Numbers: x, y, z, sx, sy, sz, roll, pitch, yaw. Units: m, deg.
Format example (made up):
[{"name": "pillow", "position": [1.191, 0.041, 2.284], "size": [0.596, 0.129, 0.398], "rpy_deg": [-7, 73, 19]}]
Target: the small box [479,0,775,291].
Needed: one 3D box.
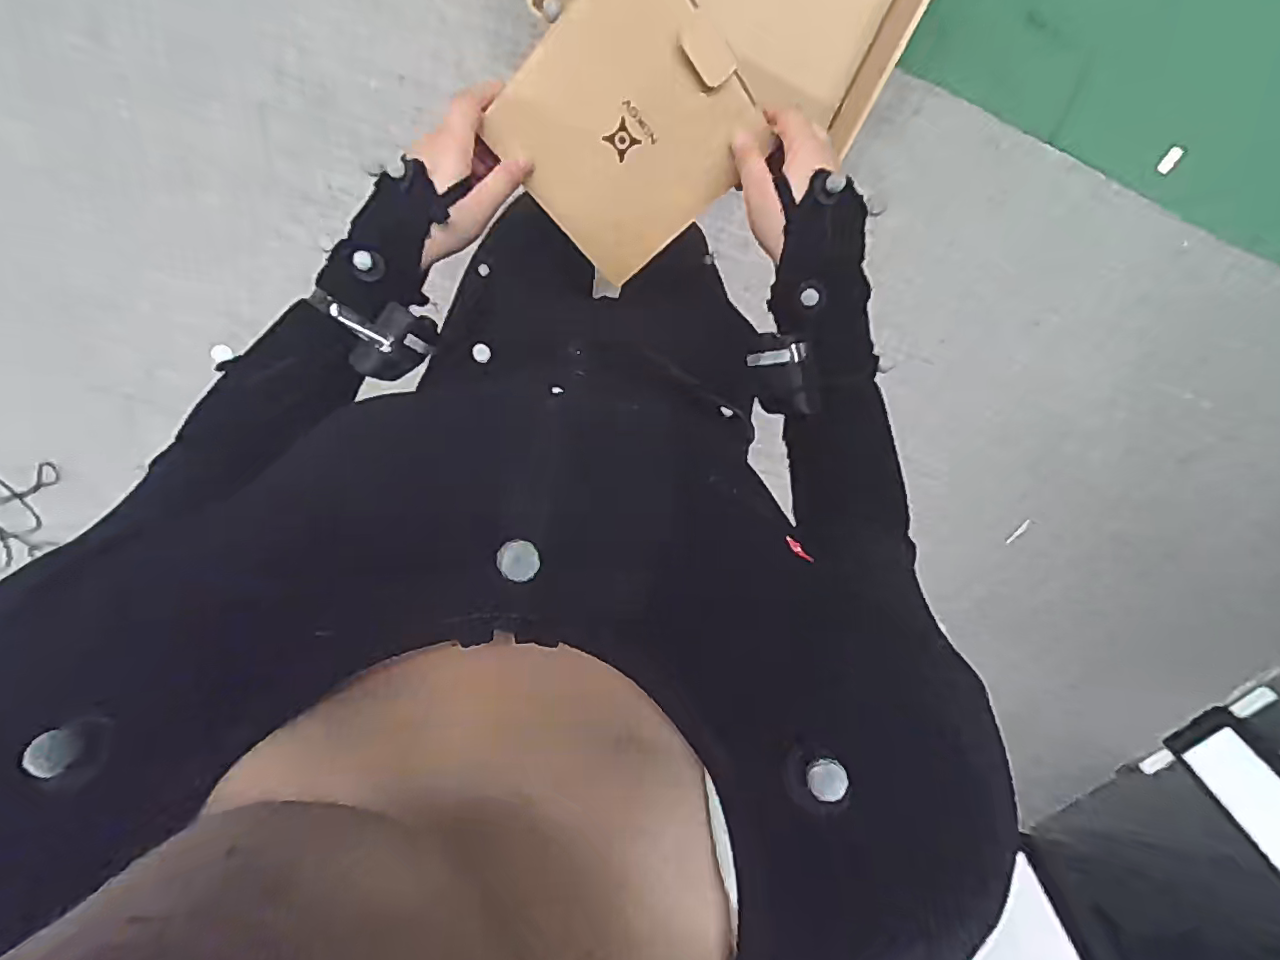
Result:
[{"name": "small box", "position": [-0.007, -0.310, 0.482], "size": [0.179, 0.176, 0.168], "rpy_deg": [-36, 119, 25]}]
